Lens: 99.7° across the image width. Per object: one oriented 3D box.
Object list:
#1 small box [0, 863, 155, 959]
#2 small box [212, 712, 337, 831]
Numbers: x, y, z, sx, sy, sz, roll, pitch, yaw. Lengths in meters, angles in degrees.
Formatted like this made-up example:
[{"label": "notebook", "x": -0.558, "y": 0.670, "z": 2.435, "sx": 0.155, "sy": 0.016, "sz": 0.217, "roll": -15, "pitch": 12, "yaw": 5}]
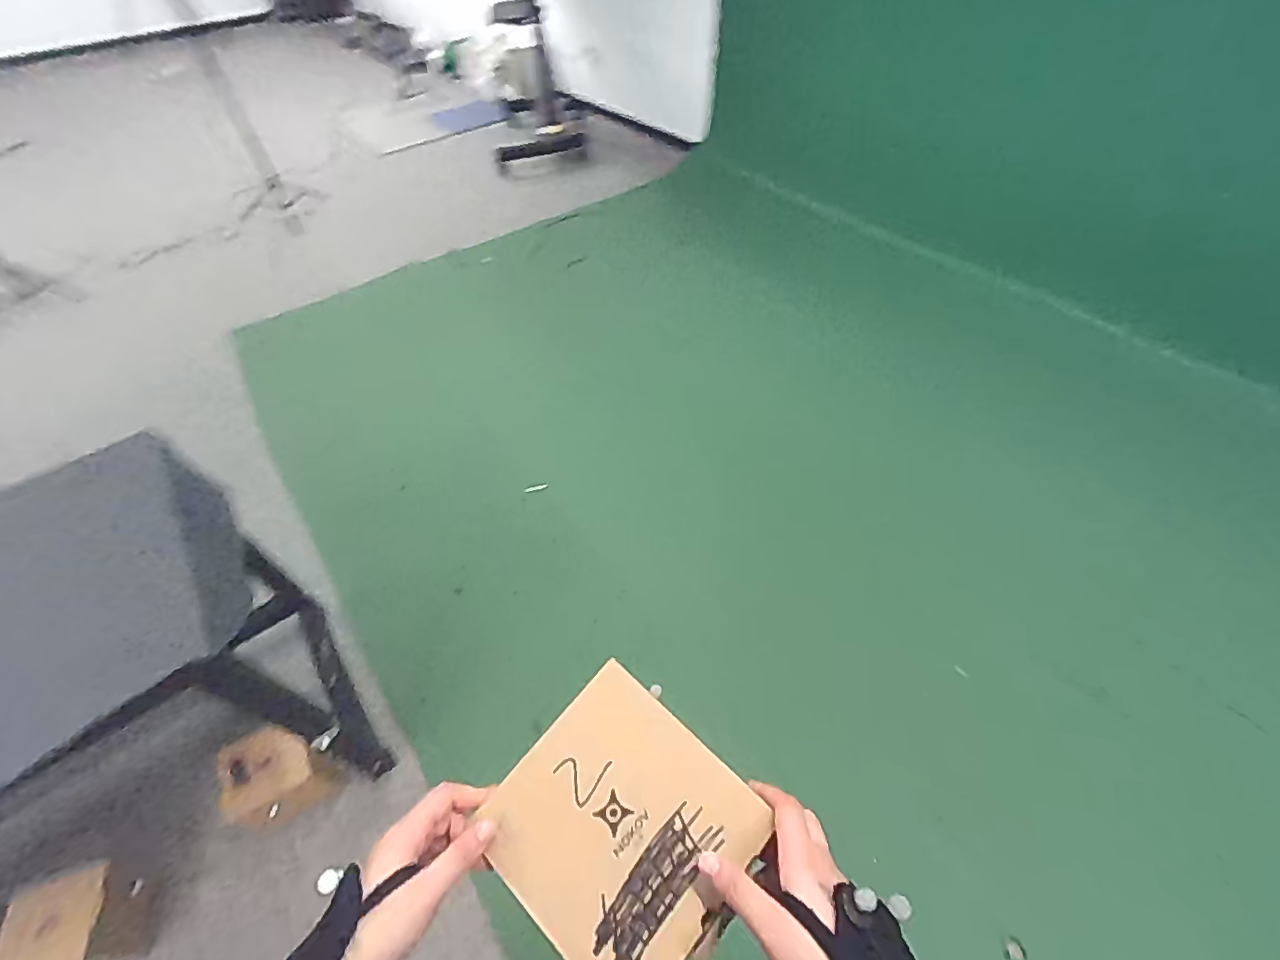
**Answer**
[{"label": "small box", "x": -1.144, "y": 0.901, "z": 1.090, "sx": 0.179, "sy": 0.176, "sz": 0.168, "roll": -16, "pitch": 51, "yaw": -9}, {"label": "small box", "x": -0.846, "y": 0.682, "z": 1.258, "sx": 0.179, "sy": 0.176, "sz": 0.168, "roll": -26, "pitch": 55, "yaw": -19}]
